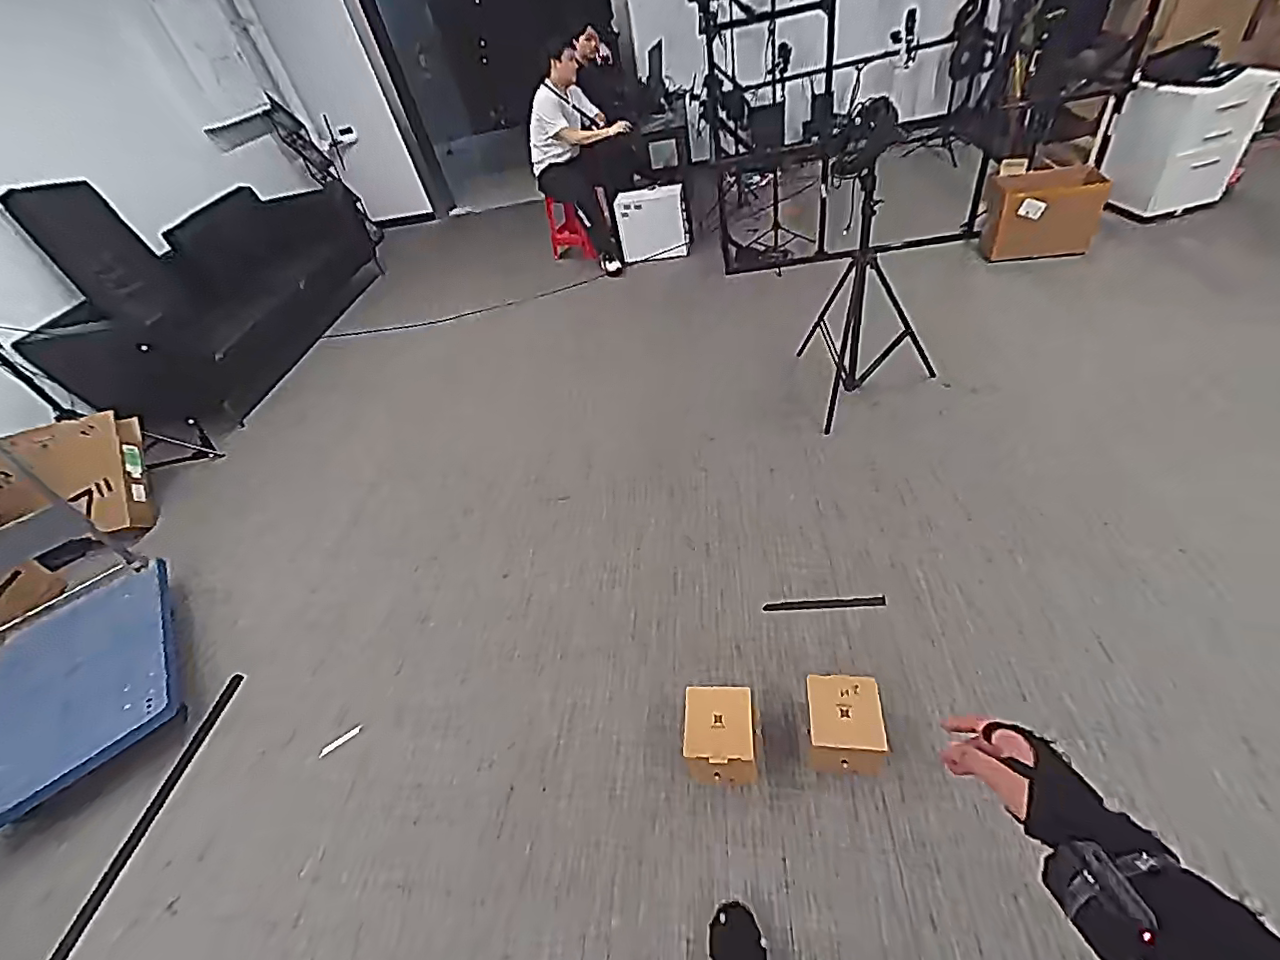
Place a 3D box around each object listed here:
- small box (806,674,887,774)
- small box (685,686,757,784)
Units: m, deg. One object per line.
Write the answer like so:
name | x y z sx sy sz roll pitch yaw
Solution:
small box | 0.500 0.602 1.331 0.168 0.176 0.179 -2 44 13
small box | 0.208 0.646 1.370 0.168 0.176 0.179 -4 44 12
